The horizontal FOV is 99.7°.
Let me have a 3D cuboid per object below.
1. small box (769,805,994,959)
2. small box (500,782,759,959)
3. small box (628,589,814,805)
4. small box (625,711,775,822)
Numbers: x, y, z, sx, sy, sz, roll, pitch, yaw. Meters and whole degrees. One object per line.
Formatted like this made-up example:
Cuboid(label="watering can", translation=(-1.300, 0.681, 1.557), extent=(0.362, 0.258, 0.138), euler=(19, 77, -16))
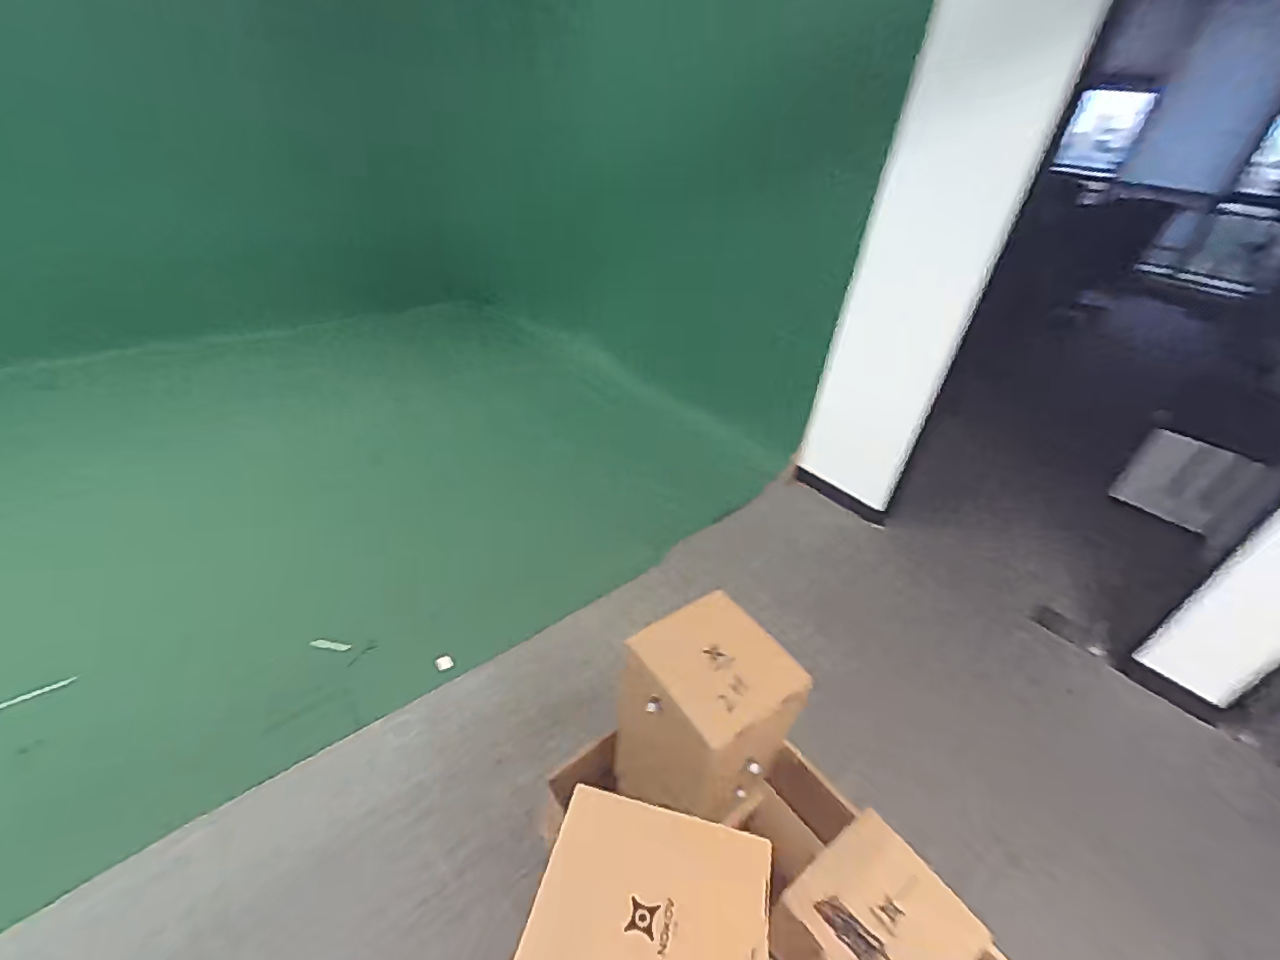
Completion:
Cuboid(label="small box", translation=(0.278, 0.556, 0.660), extent=(0.179, 0.176, 0.168), euler=(-19, 43, -30))
Cuboid(label="small box", translation=(-0.004, 0.396, 0.451), extent=(0.179, 0.176, 0.168), euler=(9, 32, 11))
Cuboid(label="small box", translation=(0.095, 0.287, 0.728), extent=(0.168, 0.176, 0.179), euler=(-20, 44, -29))
Cuboid(label="small box", translation=(0.092, 0.417, 0.829), extent=(0.179, 0.176, 0.168), euler=(-22, 44, -31))
